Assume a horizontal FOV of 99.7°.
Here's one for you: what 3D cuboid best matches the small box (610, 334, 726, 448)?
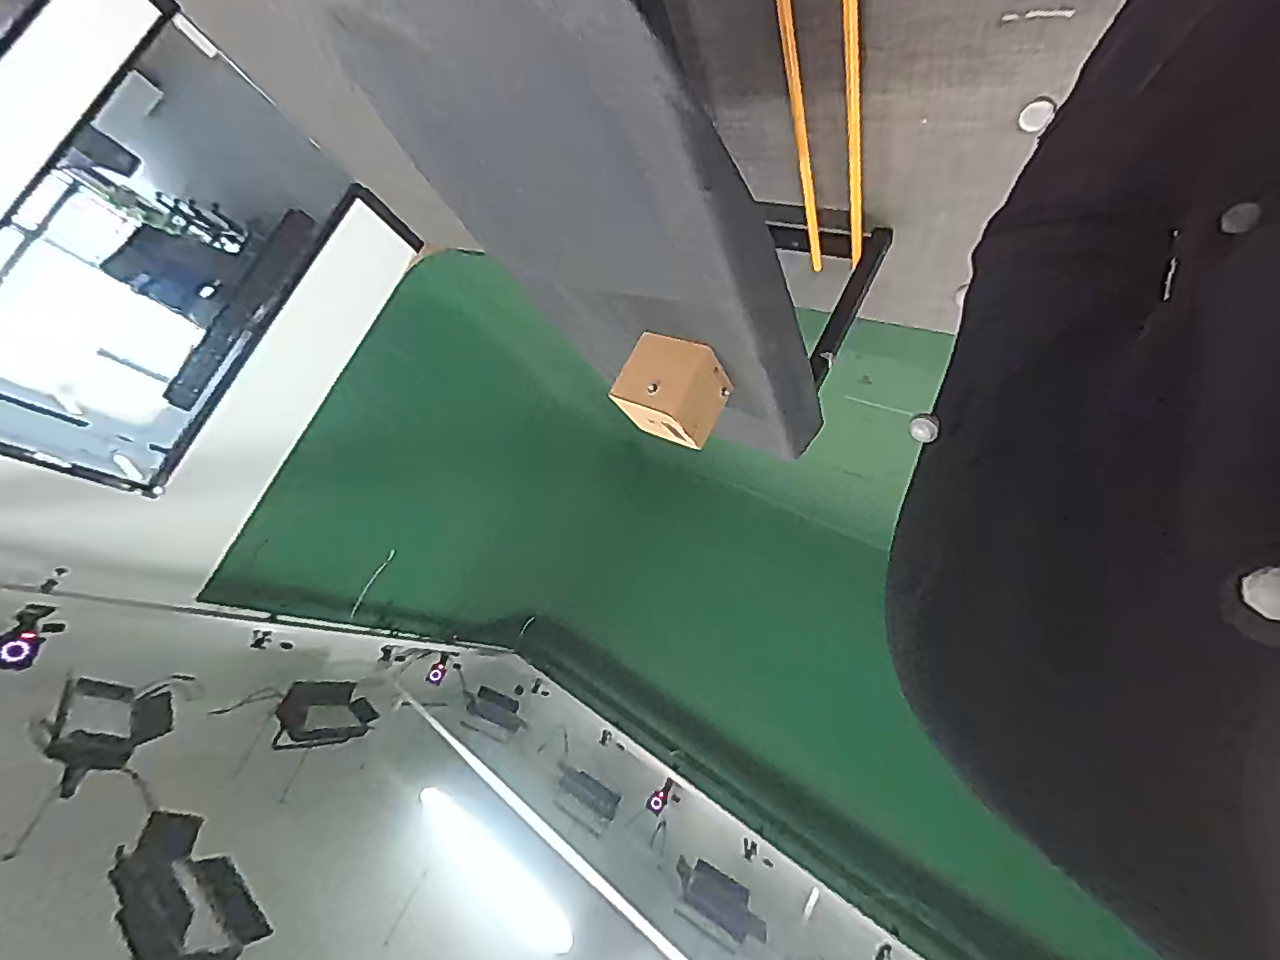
[{"bbox_3d":[0.071,-0.198,1.187,0.179,0.176,0.168,24,170,33],"label":"small box"}]
